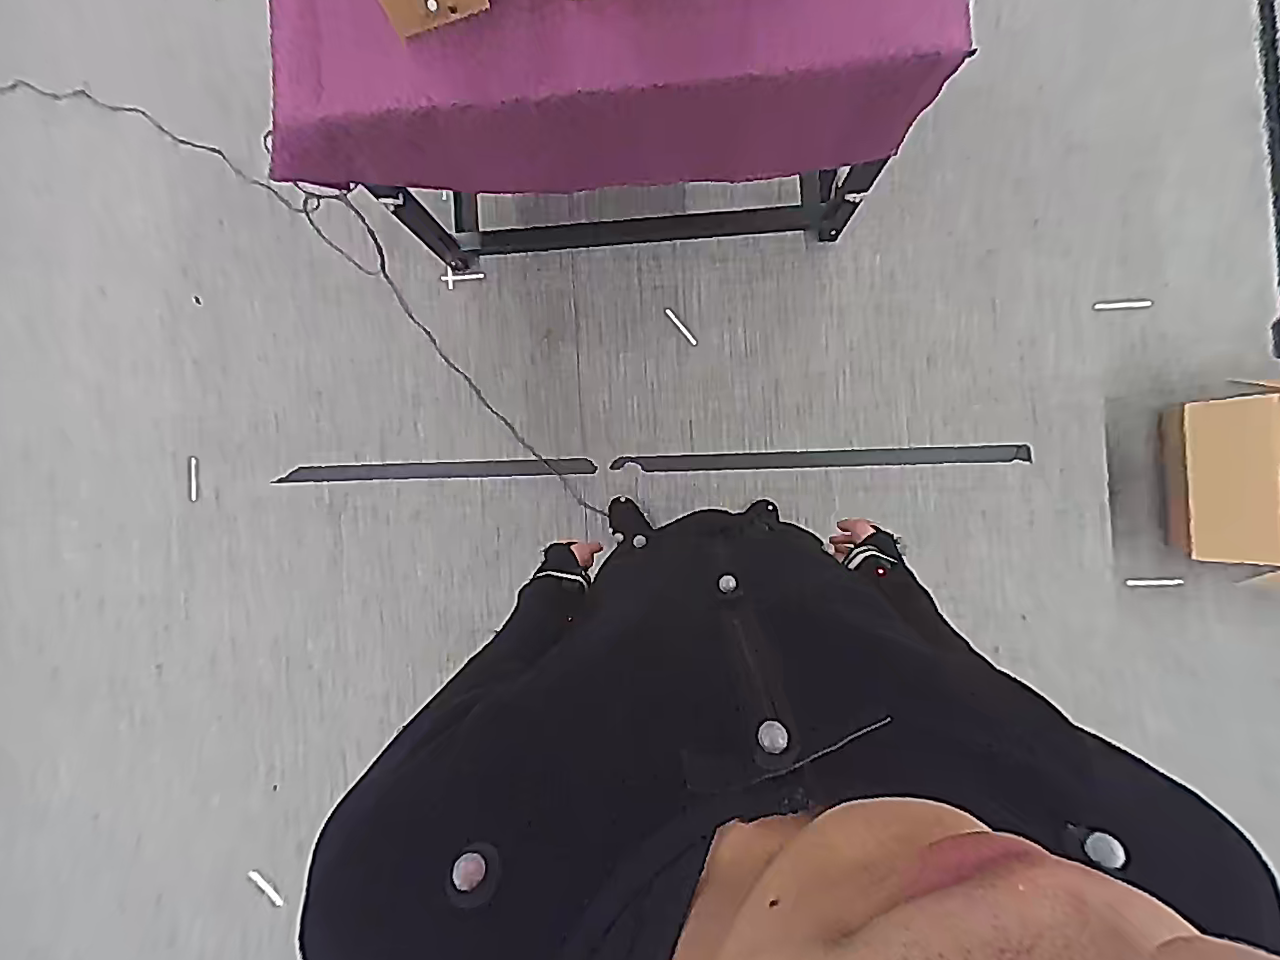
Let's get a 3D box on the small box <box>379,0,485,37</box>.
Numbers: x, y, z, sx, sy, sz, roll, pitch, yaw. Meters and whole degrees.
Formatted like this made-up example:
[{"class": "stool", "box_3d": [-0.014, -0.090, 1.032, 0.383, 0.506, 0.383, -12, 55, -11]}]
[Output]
[{"class": "small box", "box_3d": [-0.368, -0.871, 0.859, 0.168, 0.176, 0.179, -17, 89, 4]}]
